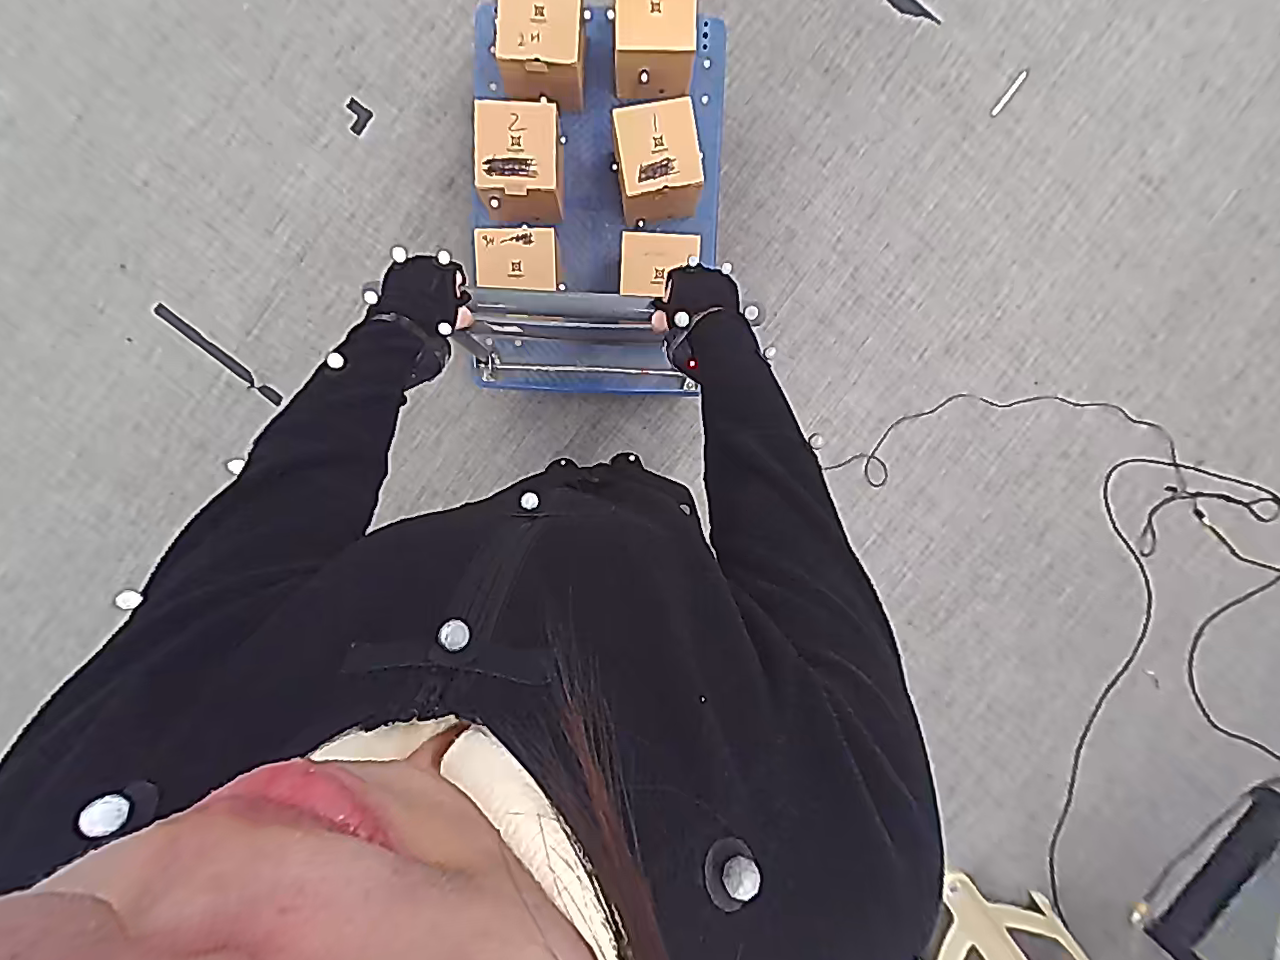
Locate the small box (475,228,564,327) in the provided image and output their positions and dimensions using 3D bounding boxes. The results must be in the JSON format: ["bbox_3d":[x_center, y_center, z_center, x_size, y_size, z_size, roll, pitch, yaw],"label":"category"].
[{"bbox_3d":[-0.260,-0.440,1.197,0.168,0.176,0.179,-2,95,-3],"label":"small box"}]

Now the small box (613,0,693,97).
[{"bbox_3d":[0.026,-0.965,1.169,0.168,0.176,0.179,-1,94,-2],"label":"small box"}]

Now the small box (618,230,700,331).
[{"bbox_3d":[0.038,-0.437,1.211,0.168,0.176,0.179,2,94,-3],"label":"small box"}]

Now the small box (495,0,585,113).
[{"bbox_3d":[-0.208,-0.935,1.161,0.168,0.176,0.179,3,95,-2],"label":"small box"}]
